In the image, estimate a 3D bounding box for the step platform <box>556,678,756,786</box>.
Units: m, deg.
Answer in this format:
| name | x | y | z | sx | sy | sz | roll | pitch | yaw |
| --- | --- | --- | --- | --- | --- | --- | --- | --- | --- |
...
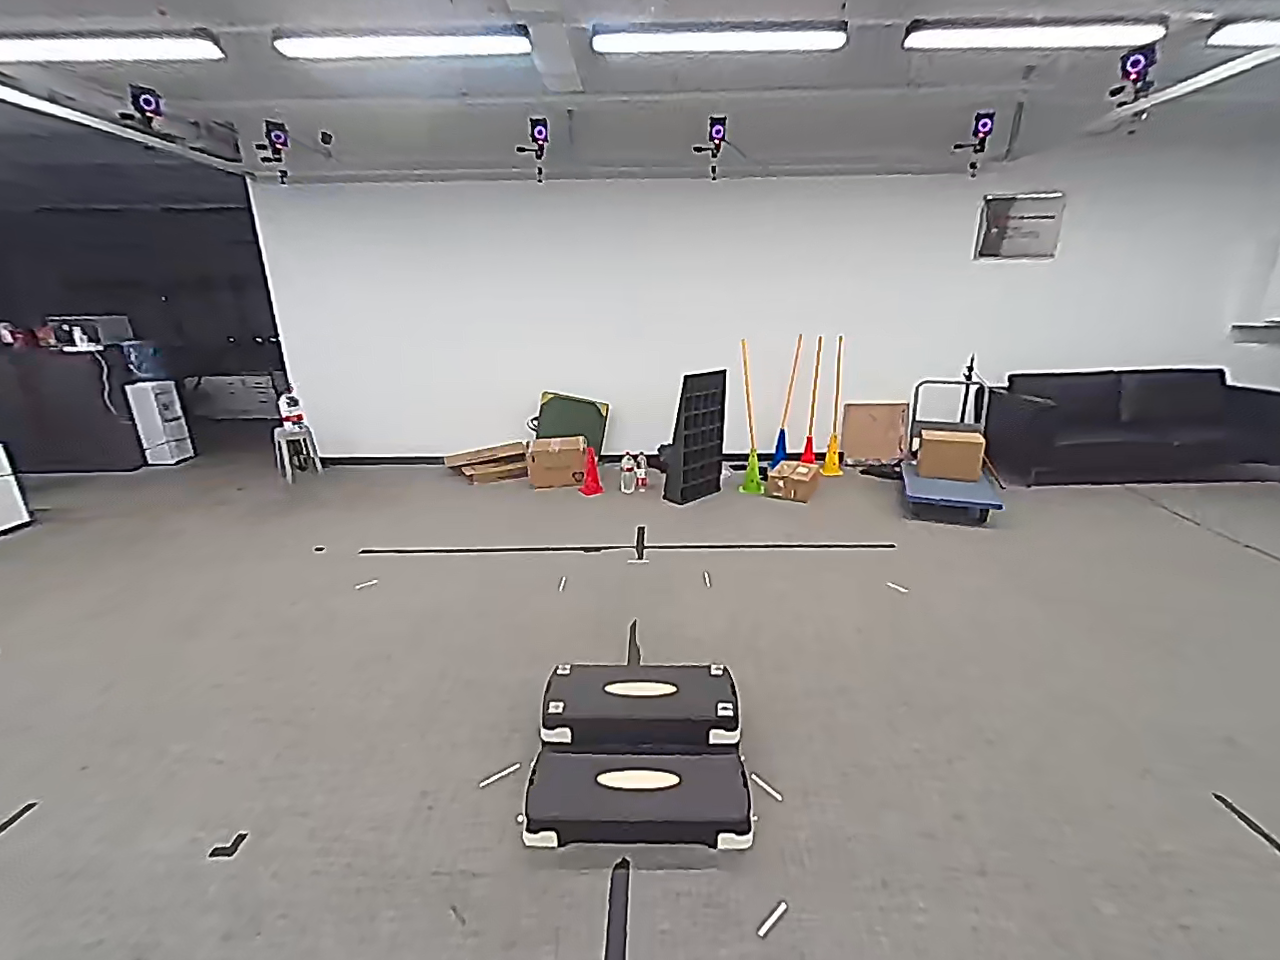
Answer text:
| name | x | y | z | sx | sy | sz | roll | pitch | yaw |
| --- | --- | --- | --- | --- | --- | --- | --- | --- | --- |
| step platform | 0.055 | 0.867 | 1.891 | 0.684 | 0.204 | 0.286 | 1 | 17 | 6 |
